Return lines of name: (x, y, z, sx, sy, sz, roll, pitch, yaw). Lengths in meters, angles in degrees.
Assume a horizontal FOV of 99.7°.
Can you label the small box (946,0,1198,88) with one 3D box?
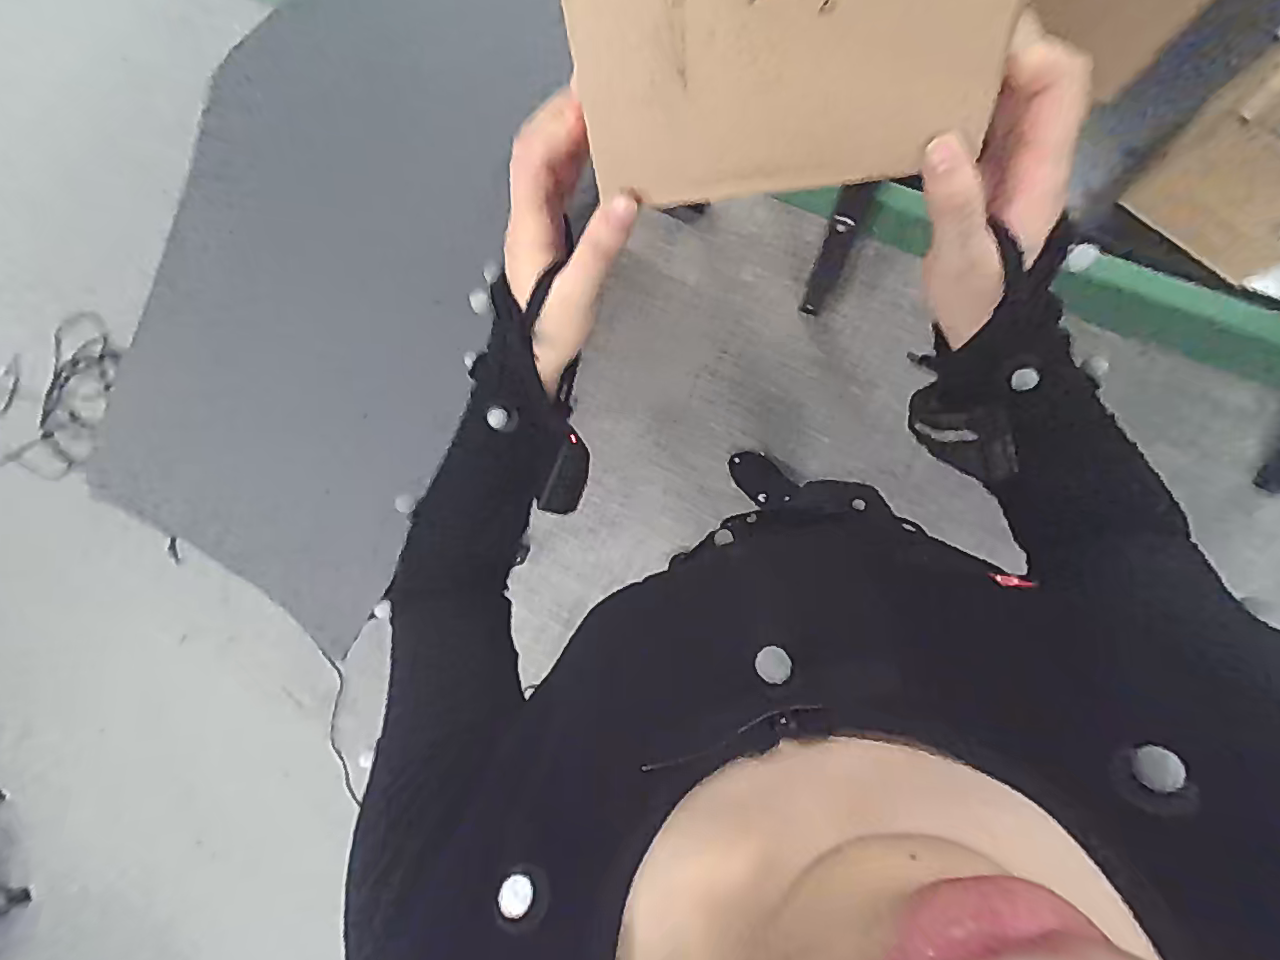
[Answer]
small box: (0.411, -0.489, 0.468, 0.179, 0.176, 0.168, 26, 95, 10)
